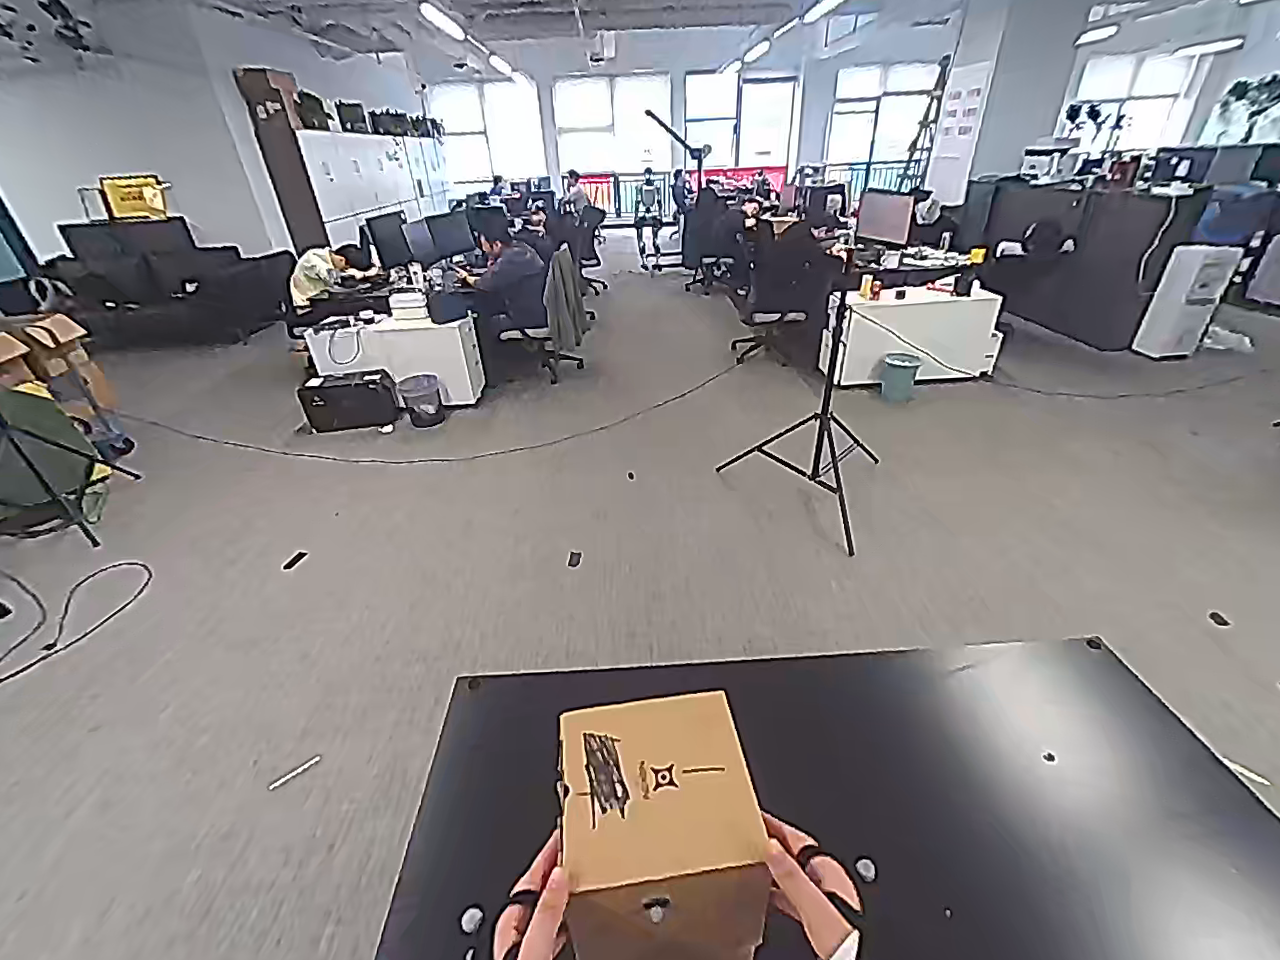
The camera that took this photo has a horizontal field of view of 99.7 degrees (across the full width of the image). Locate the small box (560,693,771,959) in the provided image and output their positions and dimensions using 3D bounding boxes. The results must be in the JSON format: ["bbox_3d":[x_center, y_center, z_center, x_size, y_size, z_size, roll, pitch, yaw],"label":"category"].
[{"bbox_3d":[0.019,0.346,0.541,0.179,0.176,0.168,-6,31,-5],"label":"small box"}]
